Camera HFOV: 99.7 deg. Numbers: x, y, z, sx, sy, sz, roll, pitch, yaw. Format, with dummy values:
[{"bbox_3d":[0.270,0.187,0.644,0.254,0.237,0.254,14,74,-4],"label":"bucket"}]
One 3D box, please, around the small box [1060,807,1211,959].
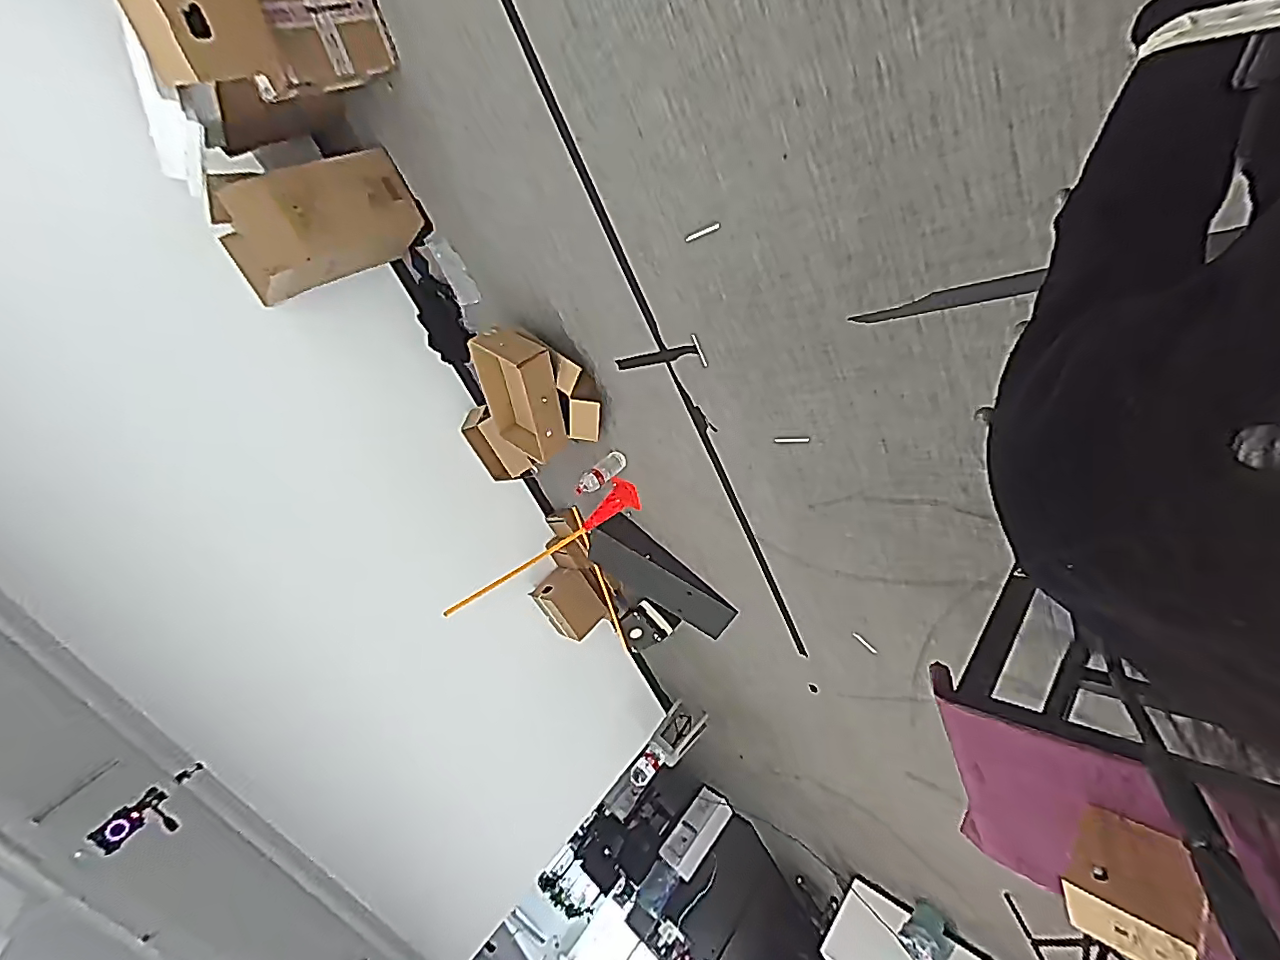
[{"bbox_3d":[0.902,0.740,0.985,0.179,0.176,0.168,5,129,50],"label":"small box"}]
